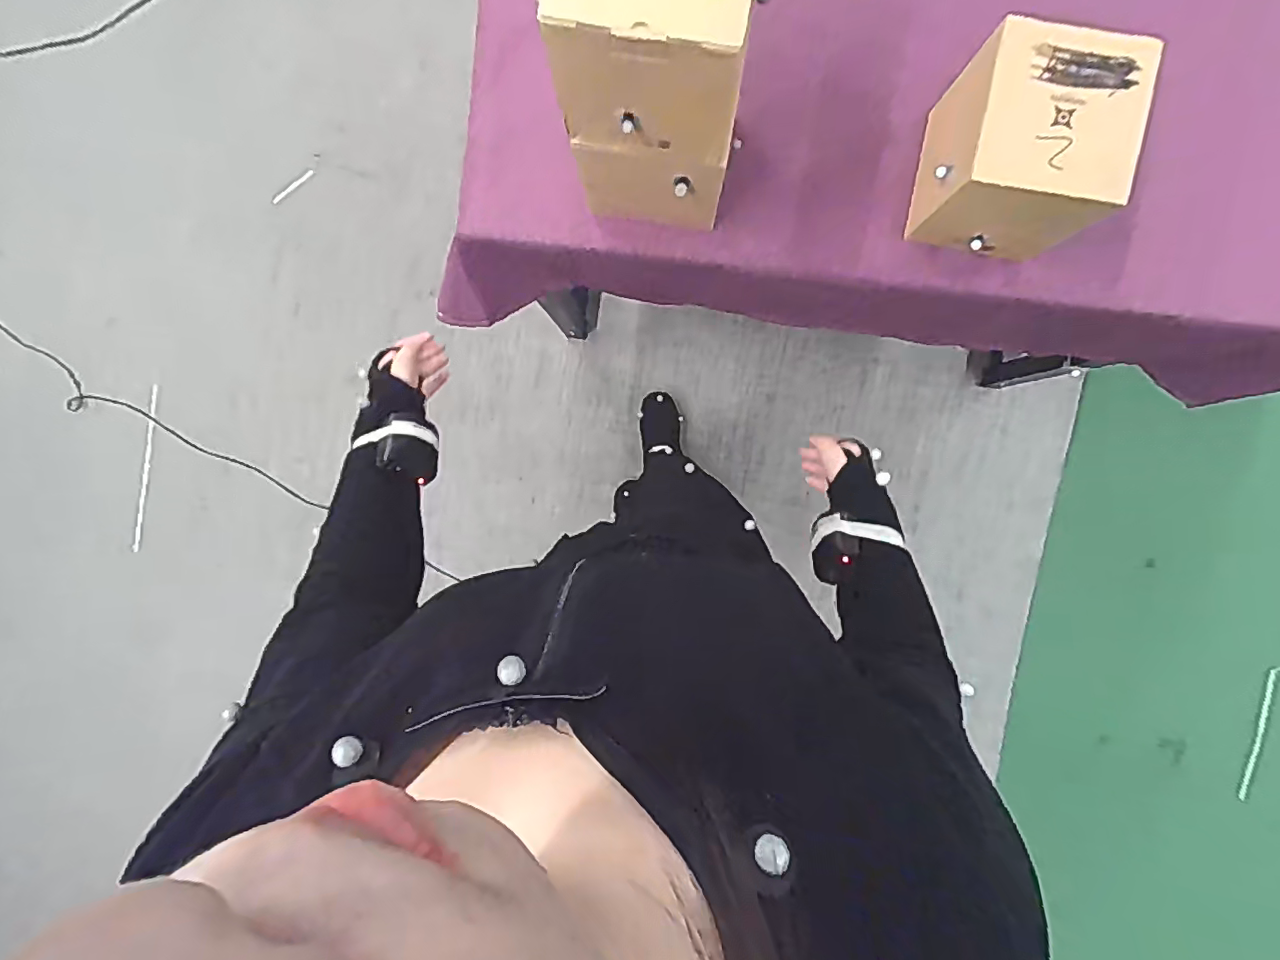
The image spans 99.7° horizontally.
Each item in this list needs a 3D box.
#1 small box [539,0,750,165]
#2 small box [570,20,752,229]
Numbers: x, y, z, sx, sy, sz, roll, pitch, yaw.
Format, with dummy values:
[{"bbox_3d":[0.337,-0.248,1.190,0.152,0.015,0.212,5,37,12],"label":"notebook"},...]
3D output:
[{"bbox_3d":[0.017,-0.436,0.504,0.168,0.176,0.179,11,93,2],"label":"small box"},{"bbox_3d":[0.026,-0.432,0.667,0.179,0.176,0.168,10,92,3],"label":"small box"}]
